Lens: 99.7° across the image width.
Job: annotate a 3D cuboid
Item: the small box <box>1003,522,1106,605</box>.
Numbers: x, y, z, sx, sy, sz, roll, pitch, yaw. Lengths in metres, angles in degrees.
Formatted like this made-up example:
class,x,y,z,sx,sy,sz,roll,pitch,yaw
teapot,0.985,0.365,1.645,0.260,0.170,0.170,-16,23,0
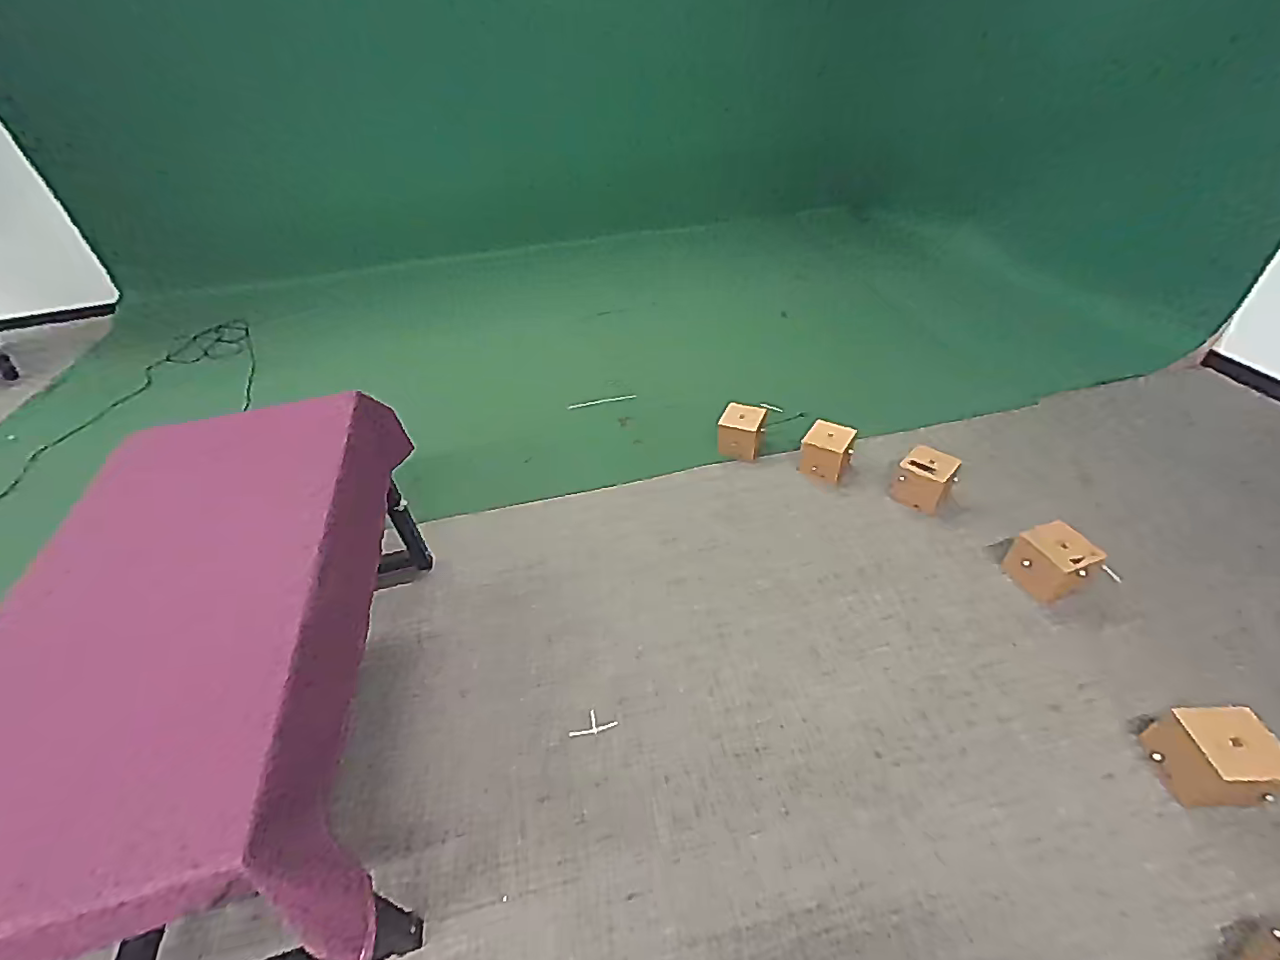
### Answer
class,x,y,z,sx,sy,sz,roll,pitch,yaw
small box,1.316,0.268,1.732,0.168,0.176,0.179,-16,41,-11

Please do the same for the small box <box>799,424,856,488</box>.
class,x,y,z,sx,sy,sz,roll,pitch,yaw
small box,0.768,-0.100,2.228,0.168,0.176,0.179,21,48,28

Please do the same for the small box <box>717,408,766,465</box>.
class,x,y,z,sx,sy,sz,roll,pitch,yaw
small box,0.444,-0.188,2.366,0.168,0.176,0.179,15,44,21

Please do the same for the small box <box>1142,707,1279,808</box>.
class,x,y,z,sx,sy,sz,roll,pitch,yaw
small box,1.365,0.656,1.278,0.179,0.176,0.168,-3,40,4
